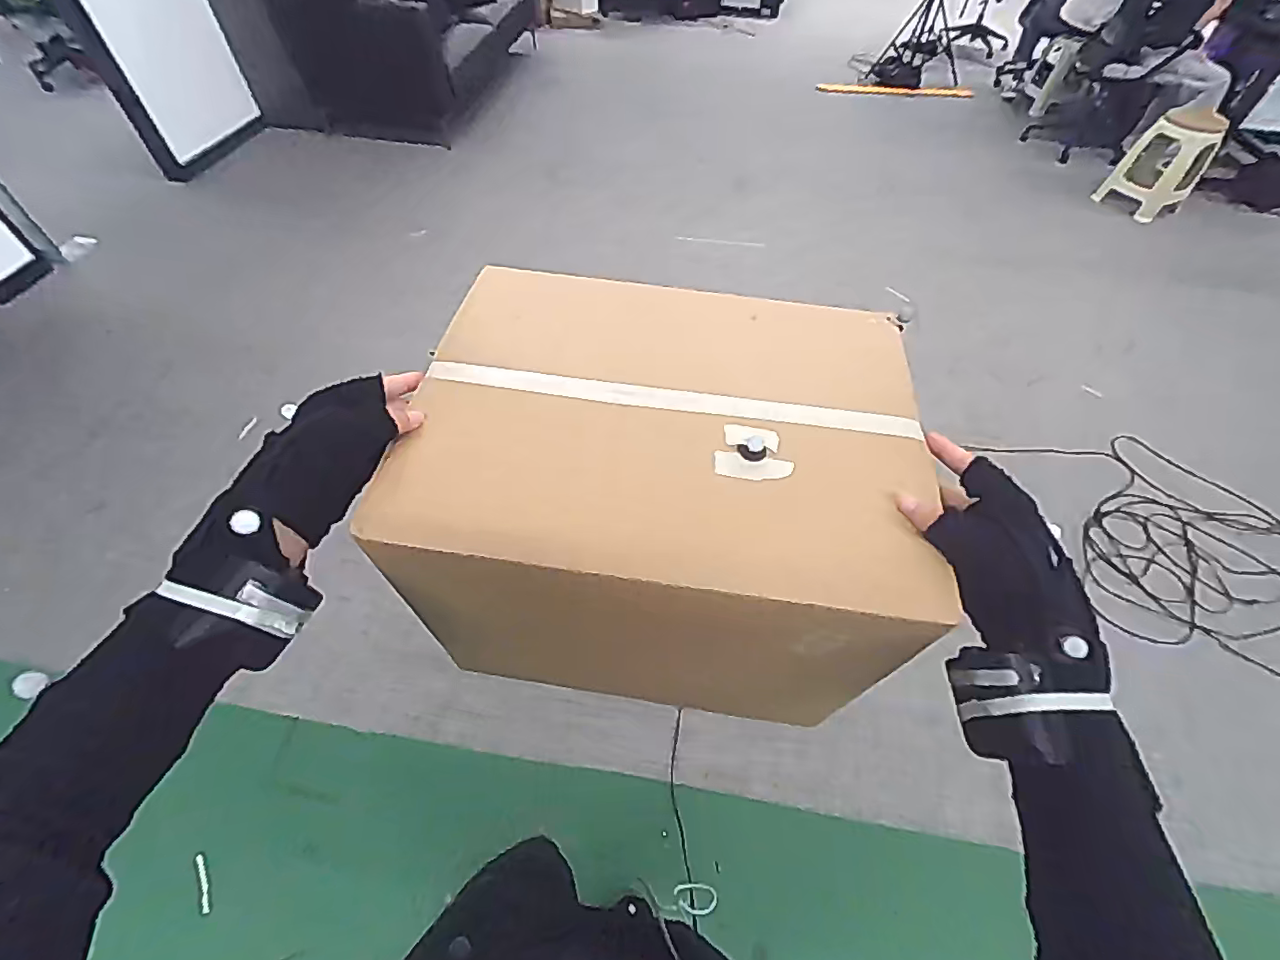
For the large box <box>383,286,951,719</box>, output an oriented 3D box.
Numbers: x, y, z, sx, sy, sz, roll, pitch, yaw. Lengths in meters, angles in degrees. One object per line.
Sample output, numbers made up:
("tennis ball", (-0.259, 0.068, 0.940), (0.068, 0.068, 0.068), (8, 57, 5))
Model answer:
("large box", (0.024, 0.035, 0.576), (0.408, 0.320, 0.320), (8, 55, 2))
